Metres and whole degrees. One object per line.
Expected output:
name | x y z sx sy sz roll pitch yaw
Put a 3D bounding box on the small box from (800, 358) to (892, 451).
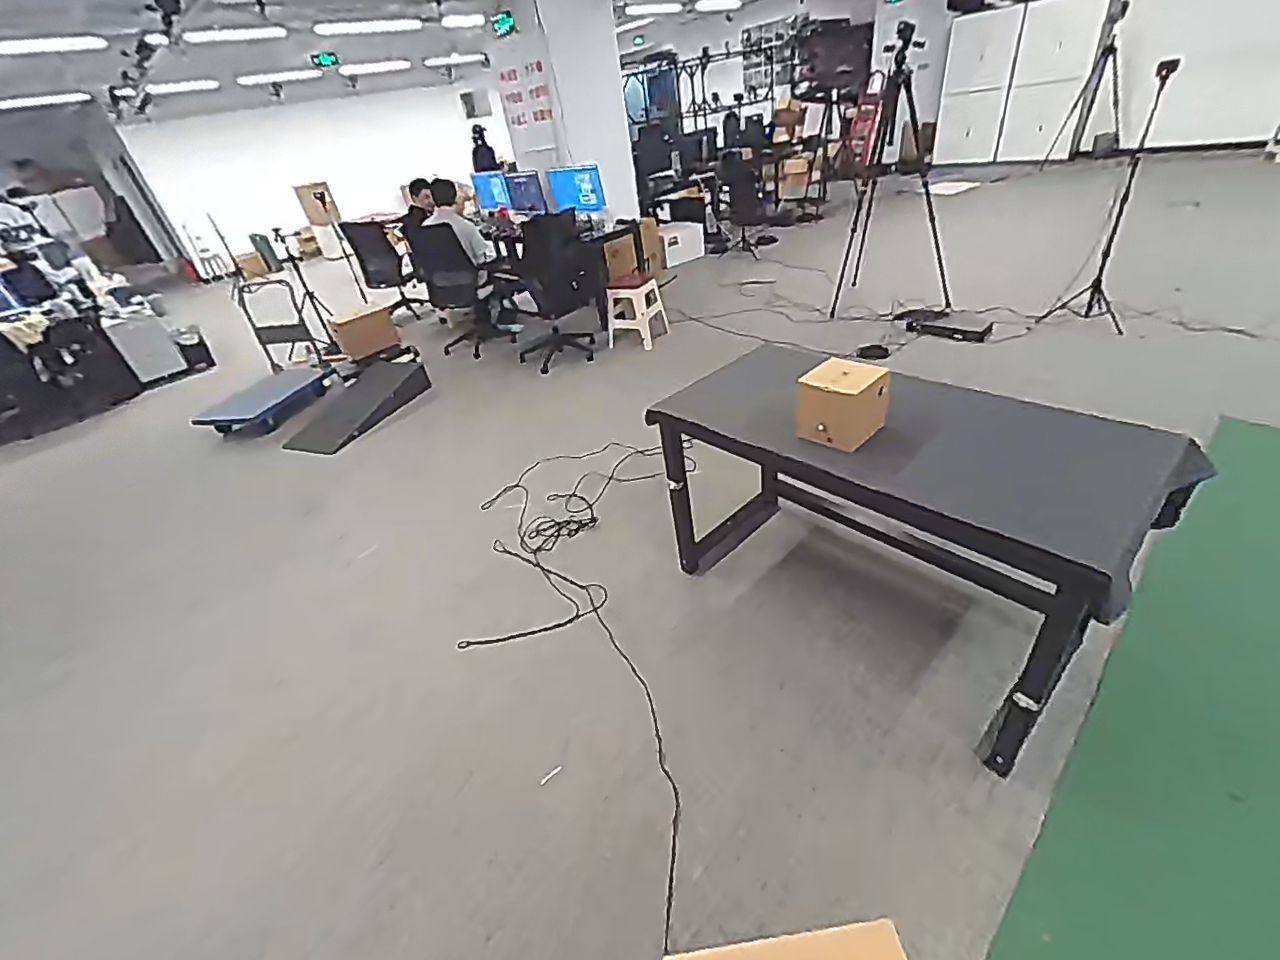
small box | 0.536 -0.202 1.429 0.179 0.176 0.168 -33 39 -30
